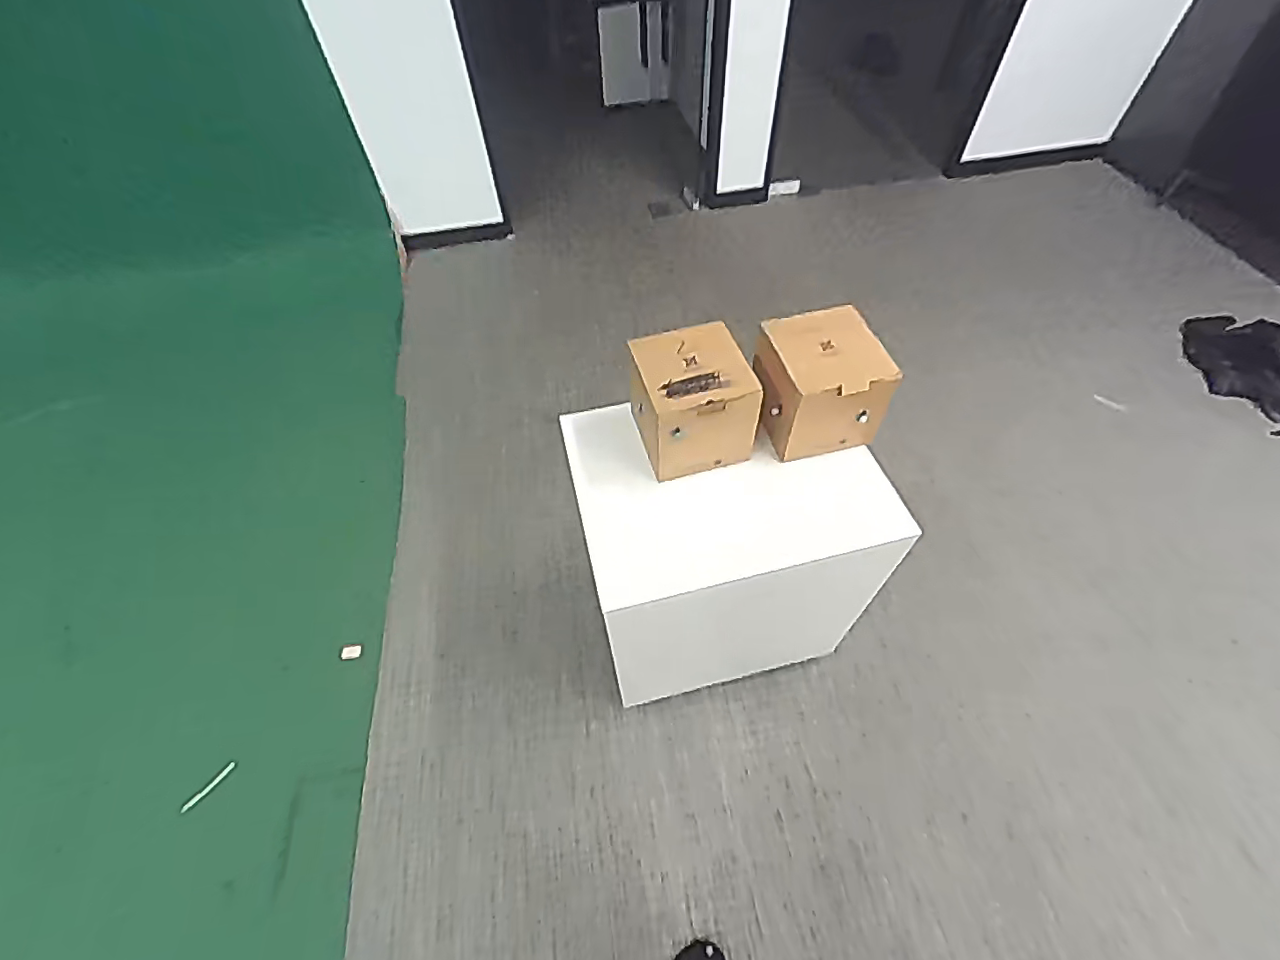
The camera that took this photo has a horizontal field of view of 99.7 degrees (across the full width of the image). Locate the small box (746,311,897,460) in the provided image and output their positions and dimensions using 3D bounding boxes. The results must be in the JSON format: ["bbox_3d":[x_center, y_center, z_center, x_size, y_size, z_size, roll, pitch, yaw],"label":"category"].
[{"bbox_3d":[0.290,-0.151,0.908,0.168,0.176,0.179,-12,54,-7],"label":"small box"}]
